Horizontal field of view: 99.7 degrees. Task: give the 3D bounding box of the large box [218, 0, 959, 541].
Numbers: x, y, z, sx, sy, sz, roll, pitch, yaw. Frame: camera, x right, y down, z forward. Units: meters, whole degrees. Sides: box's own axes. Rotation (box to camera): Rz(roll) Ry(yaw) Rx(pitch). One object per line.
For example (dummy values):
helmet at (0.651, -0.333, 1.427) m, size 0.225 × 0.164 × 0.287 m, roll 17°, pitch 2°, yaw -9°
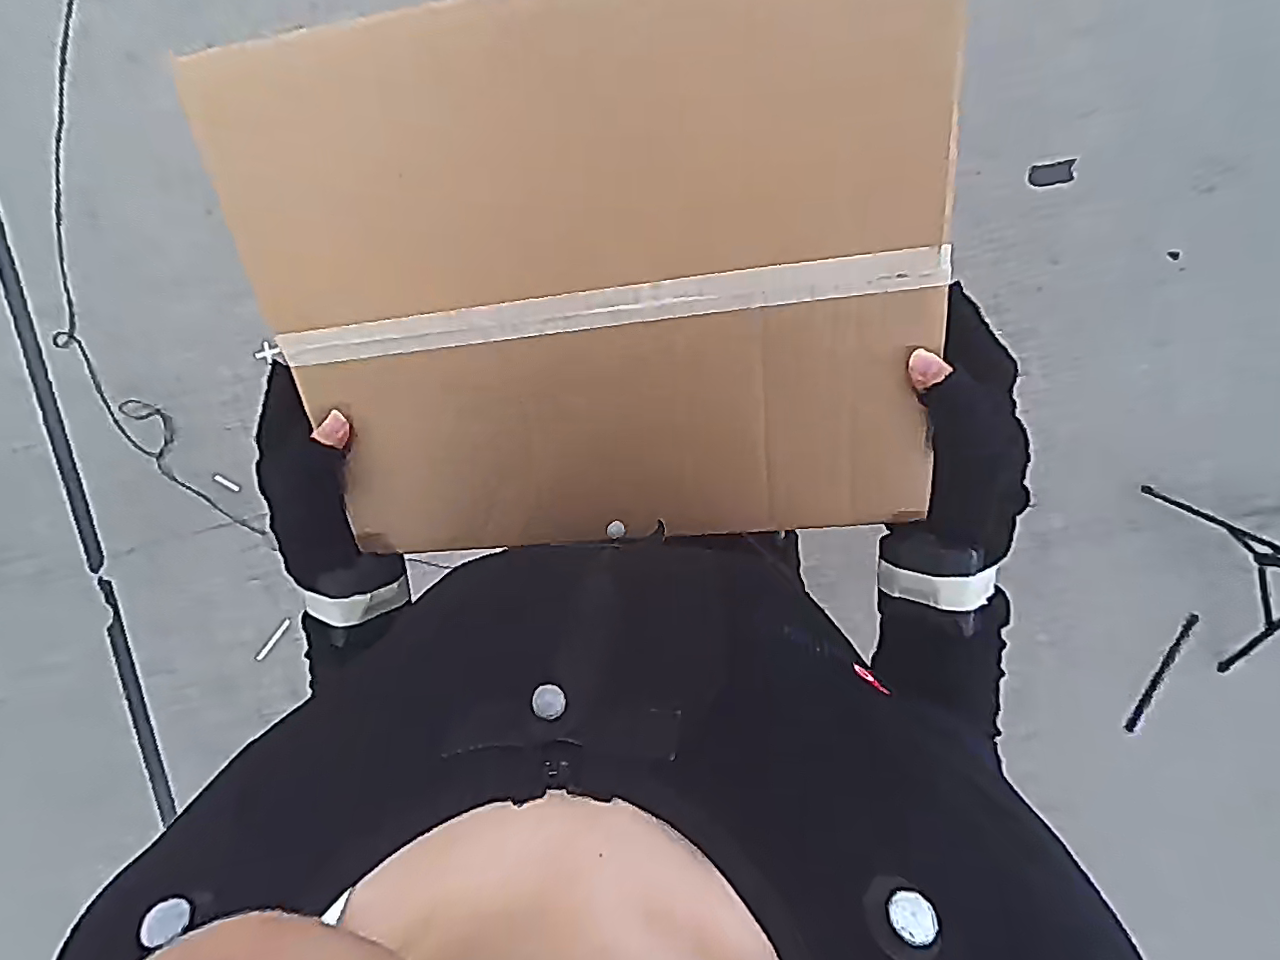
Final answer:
large box at (-0.014, -0.166, 0.469) m, size 0.408 × 0.320 × 0.320 m, roll -4°, pitch 114°, yaw 8°
